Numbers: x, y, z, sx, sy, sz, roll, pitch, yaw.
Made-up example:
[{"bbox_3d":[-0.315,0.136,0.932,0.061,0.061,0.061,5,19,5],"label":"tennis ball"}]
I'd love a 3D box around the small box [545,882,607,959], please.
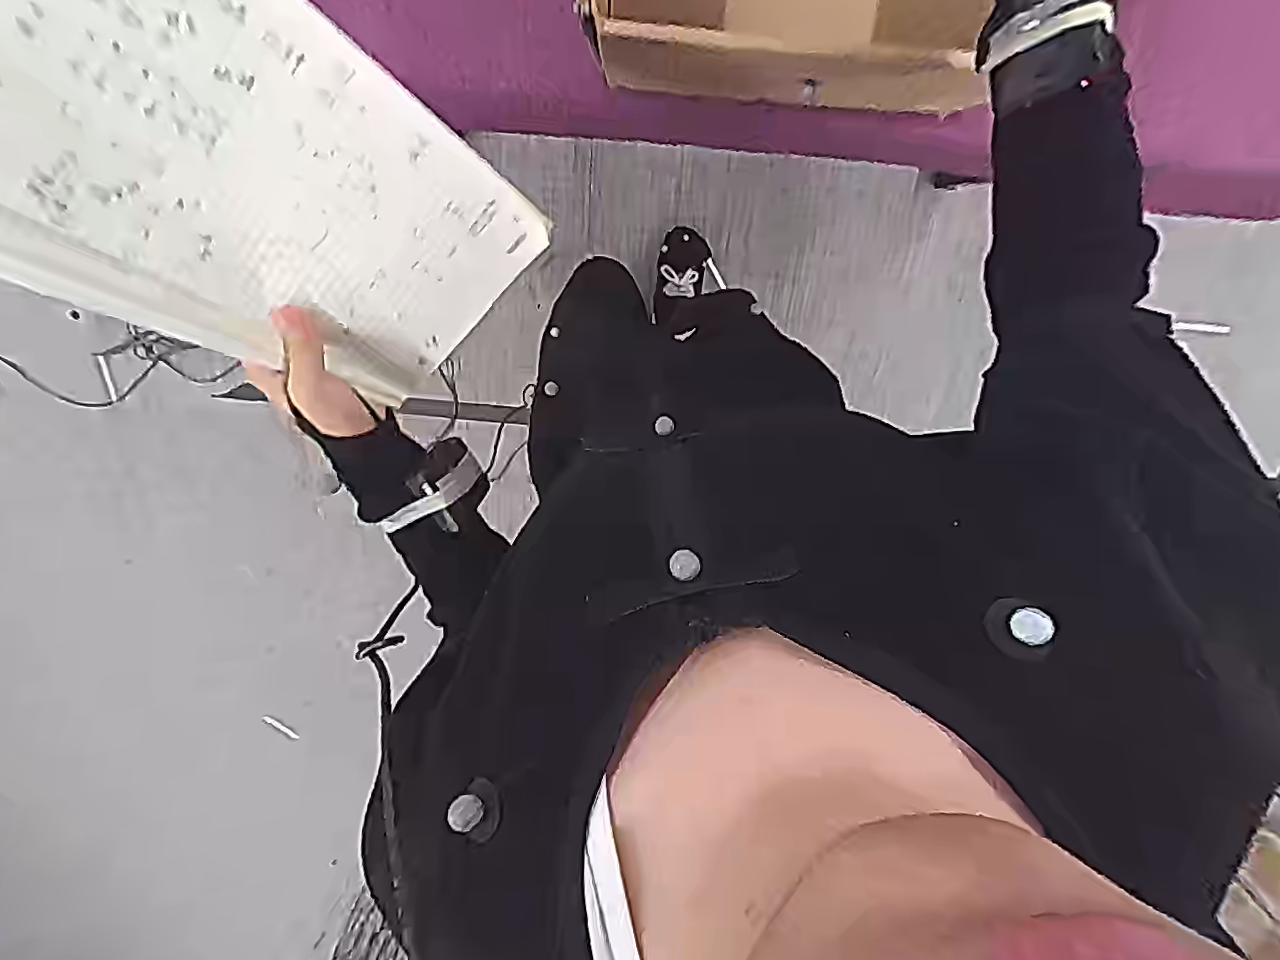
[{"bbox_3d":[-0.189,1.337,1.612,0.168,0.176,0.179,7,114,-3],"label":"small box"}]
